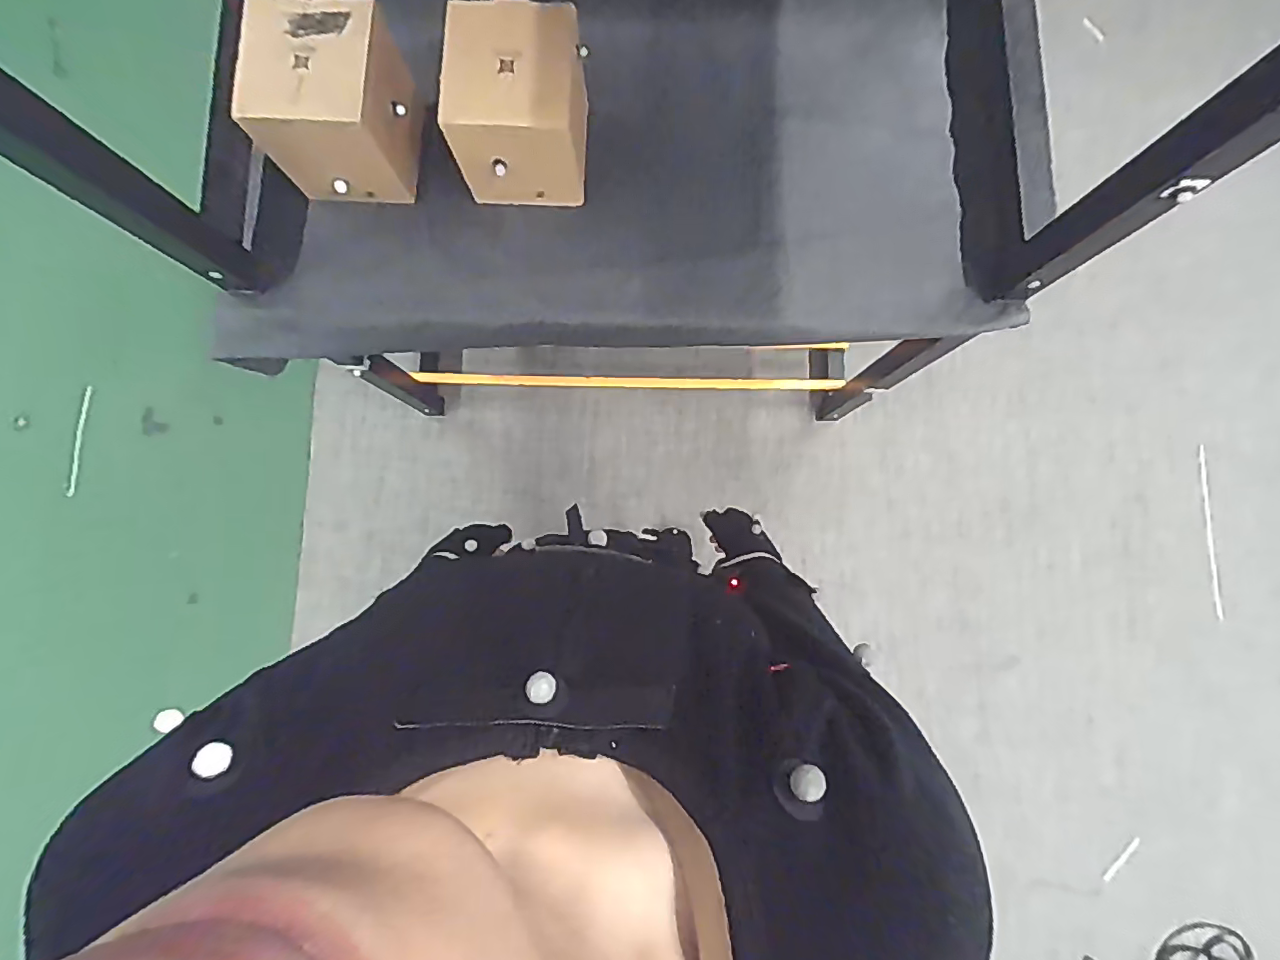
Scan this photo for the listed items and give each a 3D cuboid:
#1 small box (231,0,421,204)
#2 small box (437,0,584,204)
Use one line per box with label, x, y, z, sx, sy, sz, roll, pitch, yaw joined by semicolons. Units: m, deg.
small box;-0.423;-0.523;0.759;0.168;0.176;0.179;2;84;0
small box;-0.170;-0.518;0.763;0.168;0.176;0.179;2;83;0
